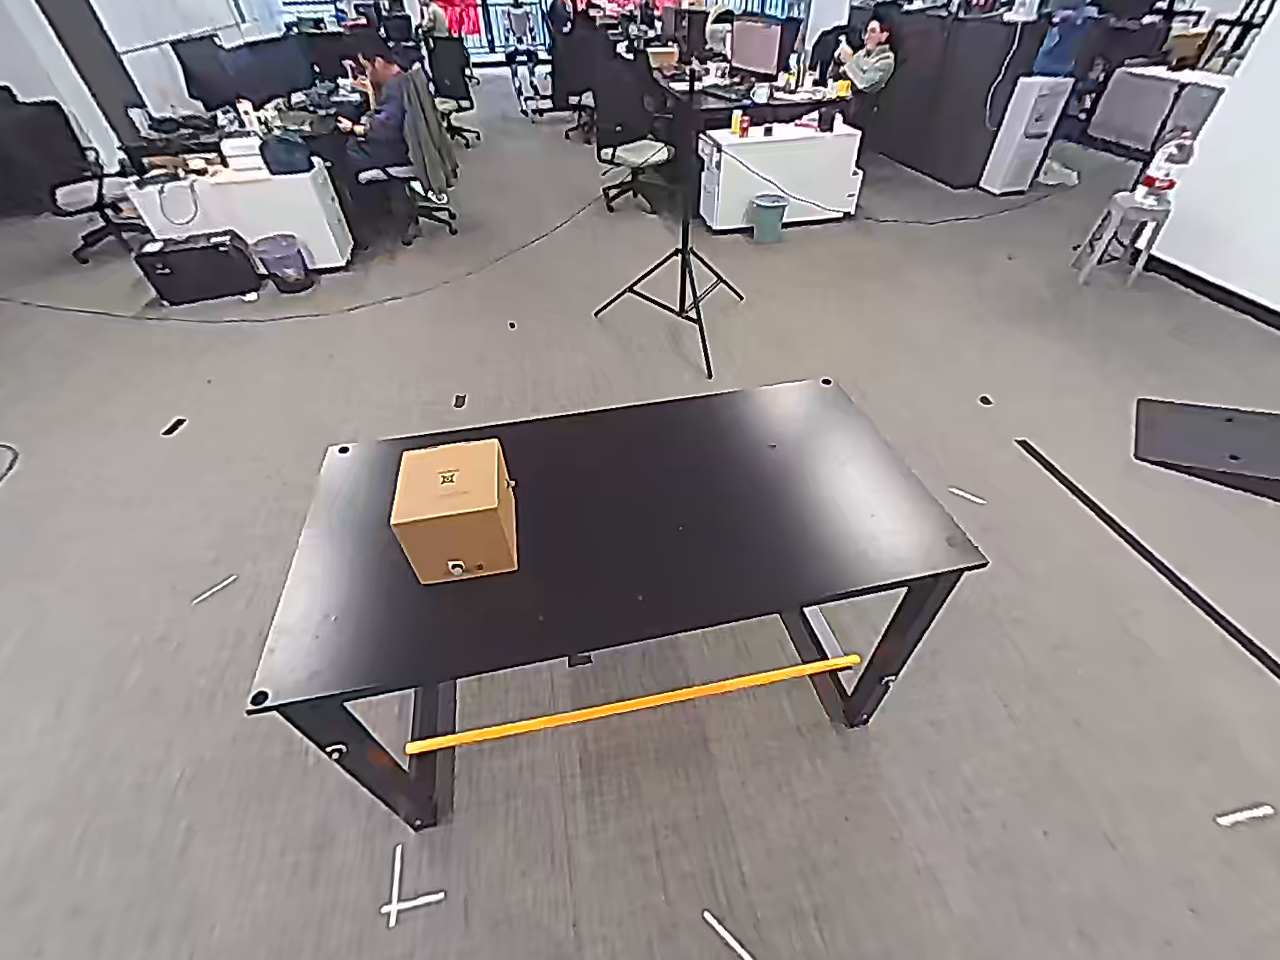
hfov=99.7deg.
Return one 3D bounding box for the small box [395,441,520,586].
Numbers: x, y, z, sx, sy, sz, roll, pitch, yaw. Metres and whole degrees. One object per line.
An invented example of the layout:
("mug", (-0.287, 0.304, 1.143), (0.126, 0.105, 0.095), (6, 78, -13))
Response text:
("small box", (-0.309, 0.059, 0.949), (0.168, 0.176, 0.179), (-10, 45, -7))
